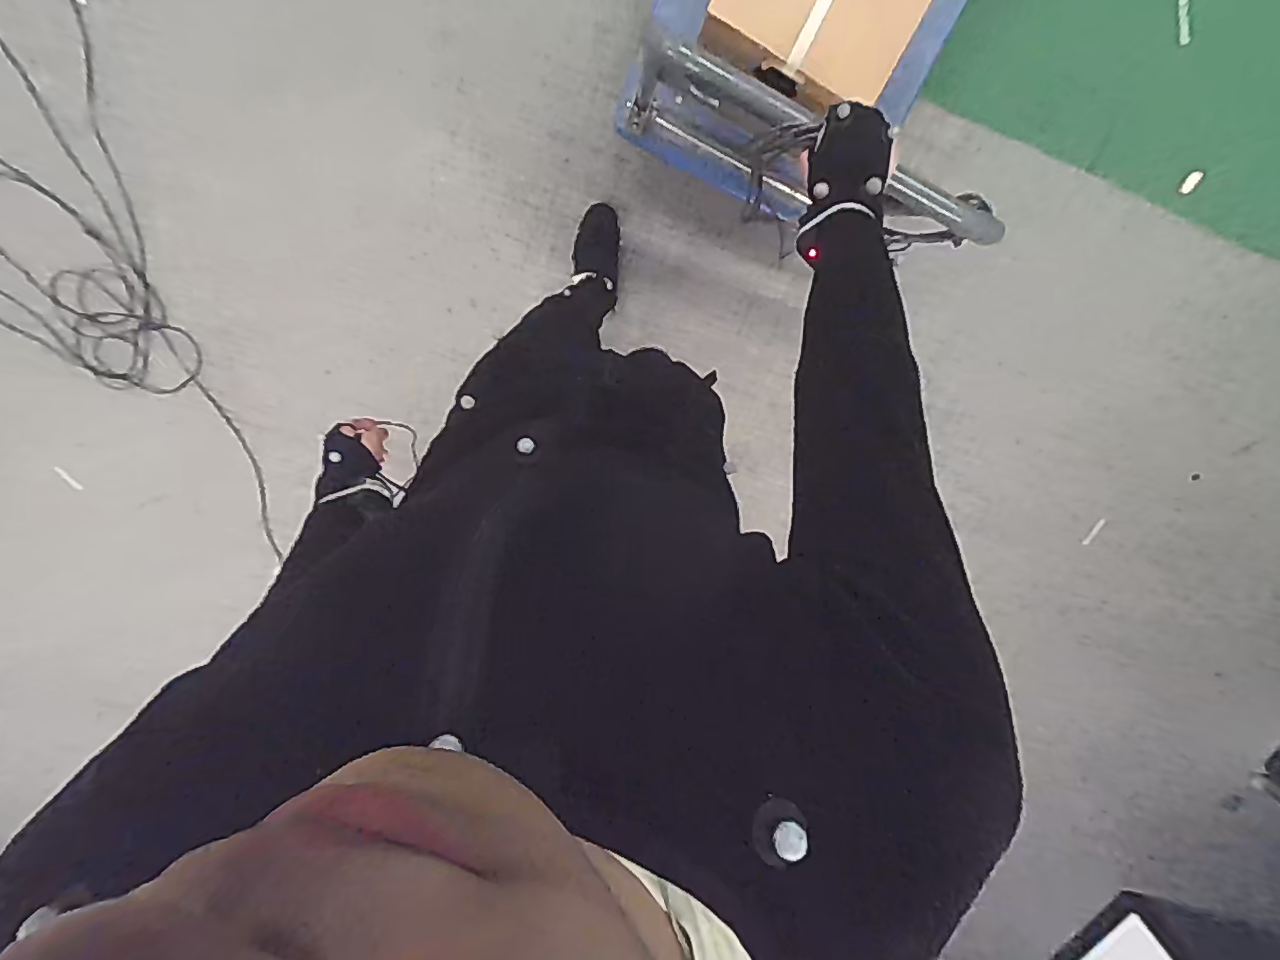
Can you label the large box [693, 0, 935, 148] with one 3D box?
[{"bbox_3d":[0.328,-0.882,0.939,0.320,0.320,0.408,24,109,-12],"label":"large box"}]
